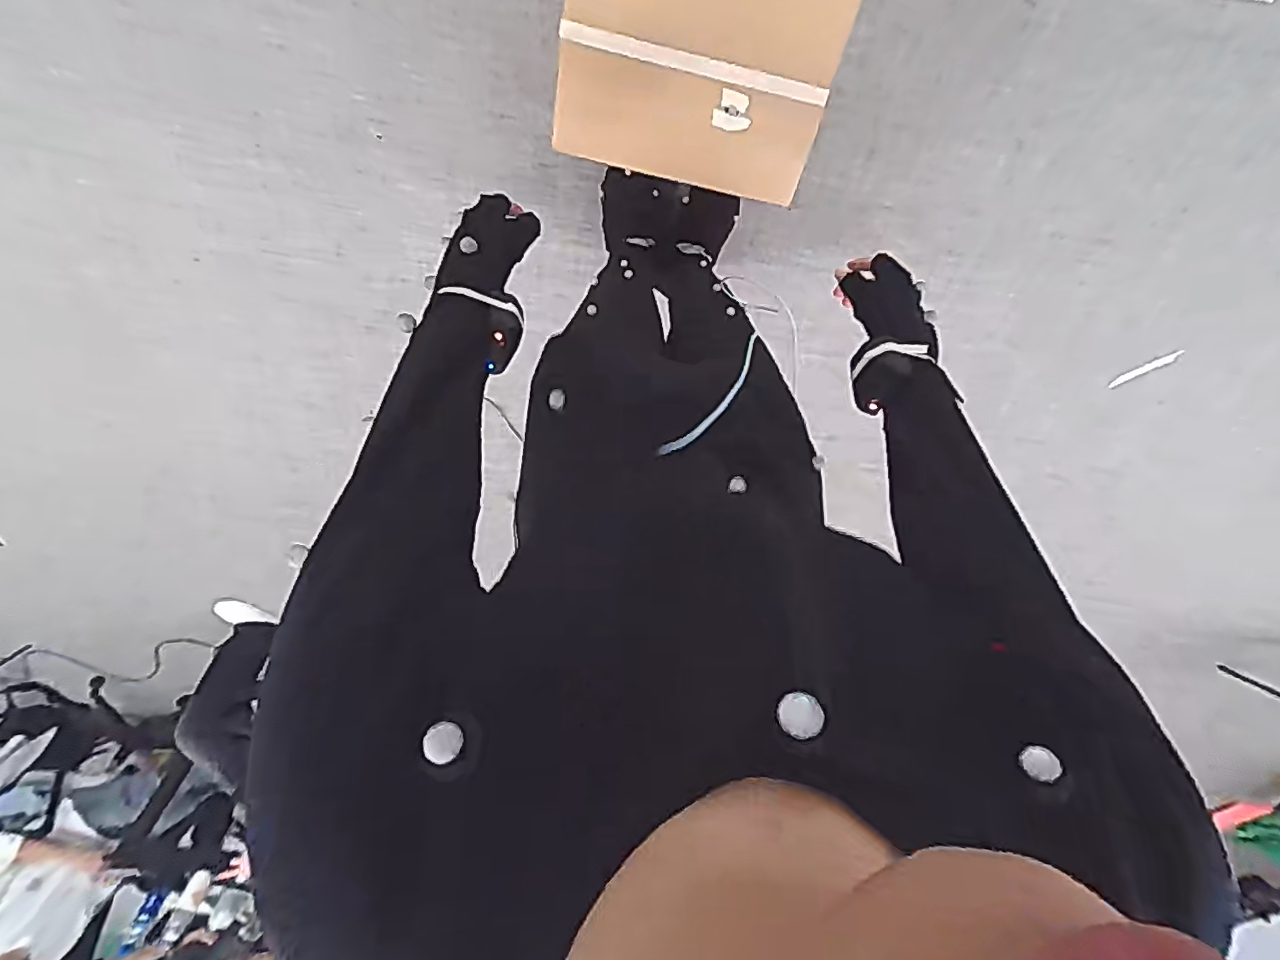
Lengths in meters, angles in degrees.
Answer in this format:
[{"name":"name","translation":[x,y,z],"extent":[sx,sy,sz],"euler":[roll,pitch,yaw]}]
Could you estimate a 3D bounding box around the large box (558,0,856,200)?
[{"name":"large box","translation":[0.086,-0.717,0.919],"extent":[0.408,0.320,0.320],"euler":[9,131,-8]}]
